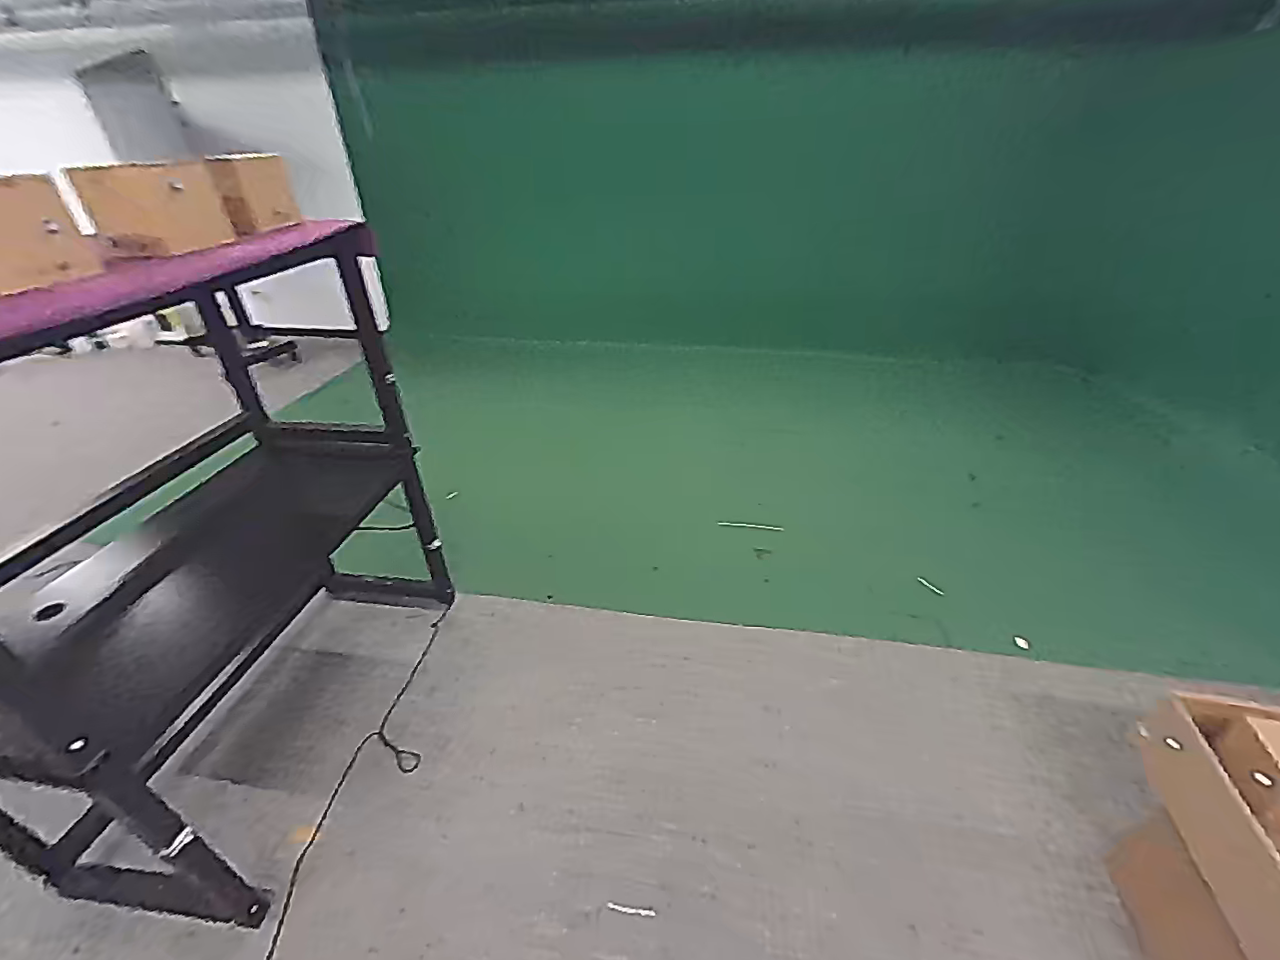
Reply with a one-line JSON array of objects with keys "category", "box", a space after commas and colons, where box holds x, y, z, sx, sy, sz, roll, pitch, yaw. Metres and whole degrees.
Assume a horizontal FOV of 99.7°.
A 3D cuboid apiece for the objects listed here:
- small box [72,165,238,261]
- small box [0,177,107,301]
[{"category": "small box", "box": [-1.030, -0.577, 1.169, 0.168, 0.176, 0.179, 3, 33, 8]}, {"category": "small box", "box": [-1.078, -0.407, 0.912, 0.179, 0.176, 0.168, 7, 33, 13]}]
